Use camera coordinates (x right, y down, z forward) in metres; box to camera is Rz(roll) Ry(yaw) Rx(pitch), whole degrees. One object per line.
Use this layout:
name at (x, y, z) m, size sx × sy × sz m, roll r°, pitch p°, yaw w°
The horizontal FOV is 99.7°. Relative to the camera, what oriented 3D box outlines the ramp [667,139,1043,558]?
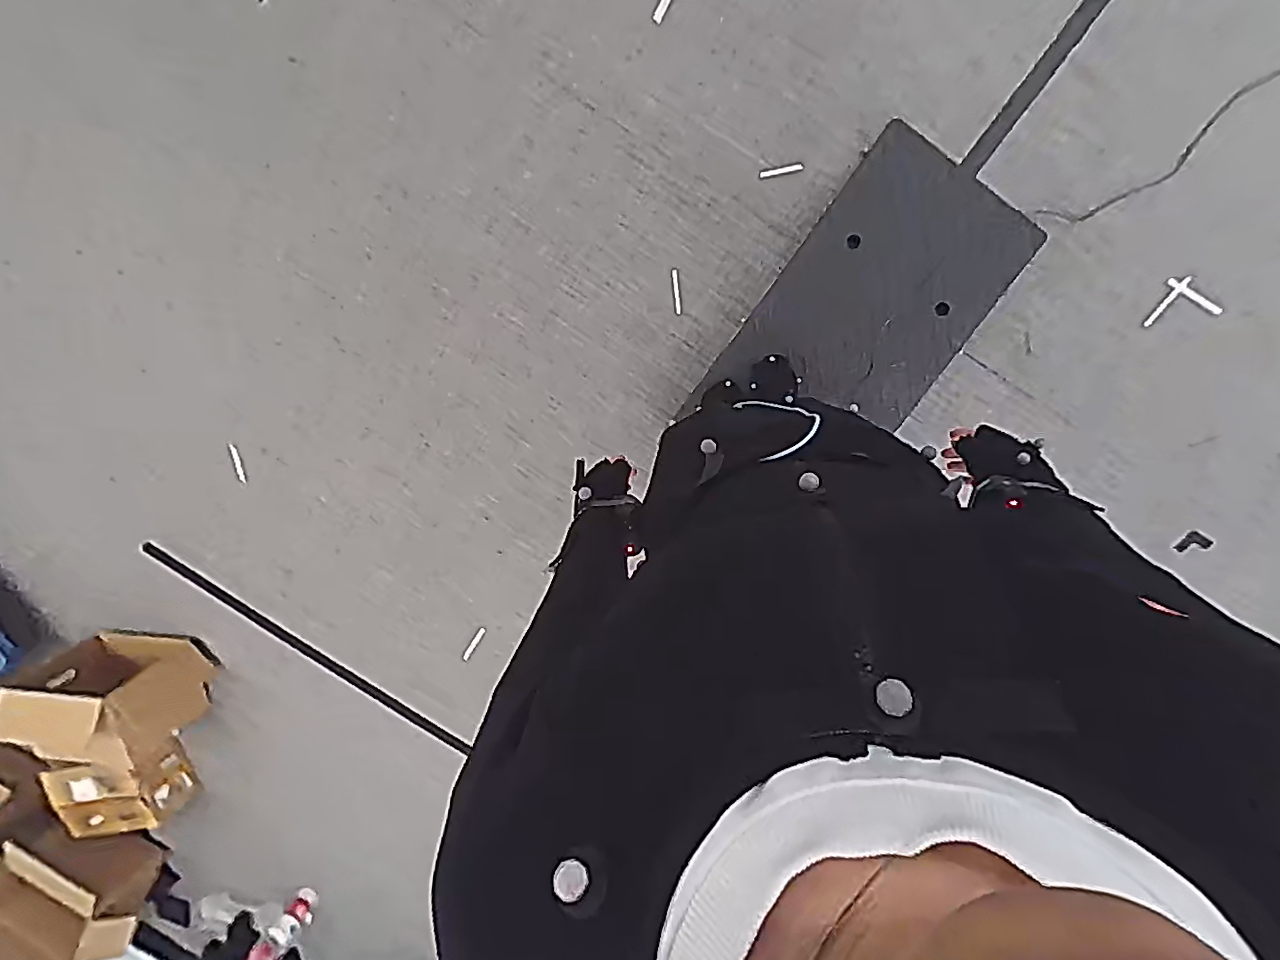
ramp at (0.544, -0.330, 1.415) m, size 0.509 × 0.206 × 0.991 m, roll 33°, pitch 105°, yaw 1°
